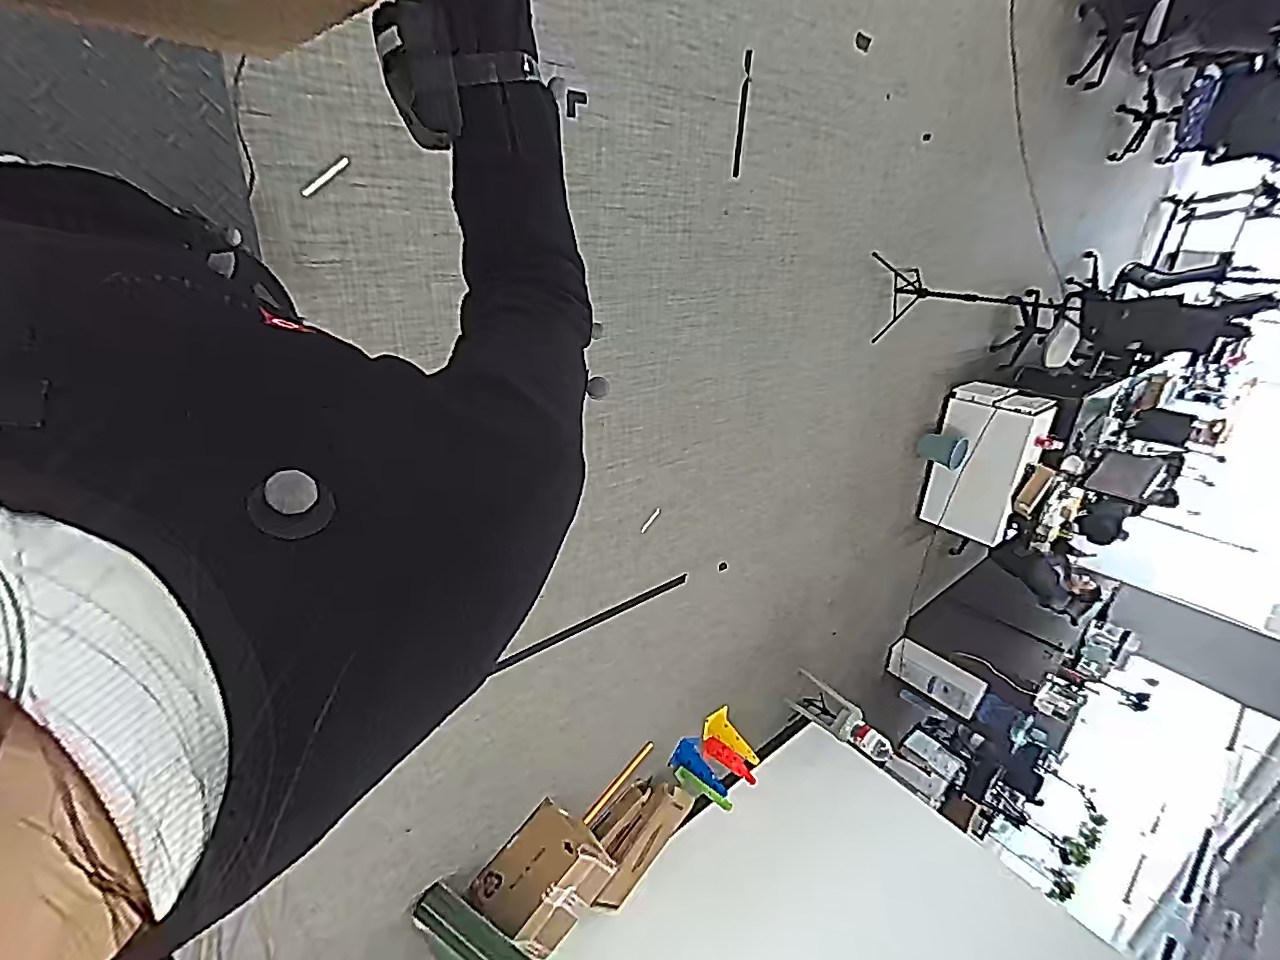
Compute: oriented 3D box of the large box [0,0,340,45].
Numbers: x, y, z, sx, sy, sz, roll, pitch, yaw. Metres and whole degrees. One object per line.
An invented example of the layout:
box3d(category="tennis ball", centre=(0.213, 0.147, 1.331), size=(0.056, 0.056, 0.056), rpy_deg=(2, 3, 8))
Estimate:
box3d(category="large box", centre=(-0.380, -0.406, 0.202), size=(0.408, 0.320, 0.320), rpy_deg=(-18, 128, -35))
